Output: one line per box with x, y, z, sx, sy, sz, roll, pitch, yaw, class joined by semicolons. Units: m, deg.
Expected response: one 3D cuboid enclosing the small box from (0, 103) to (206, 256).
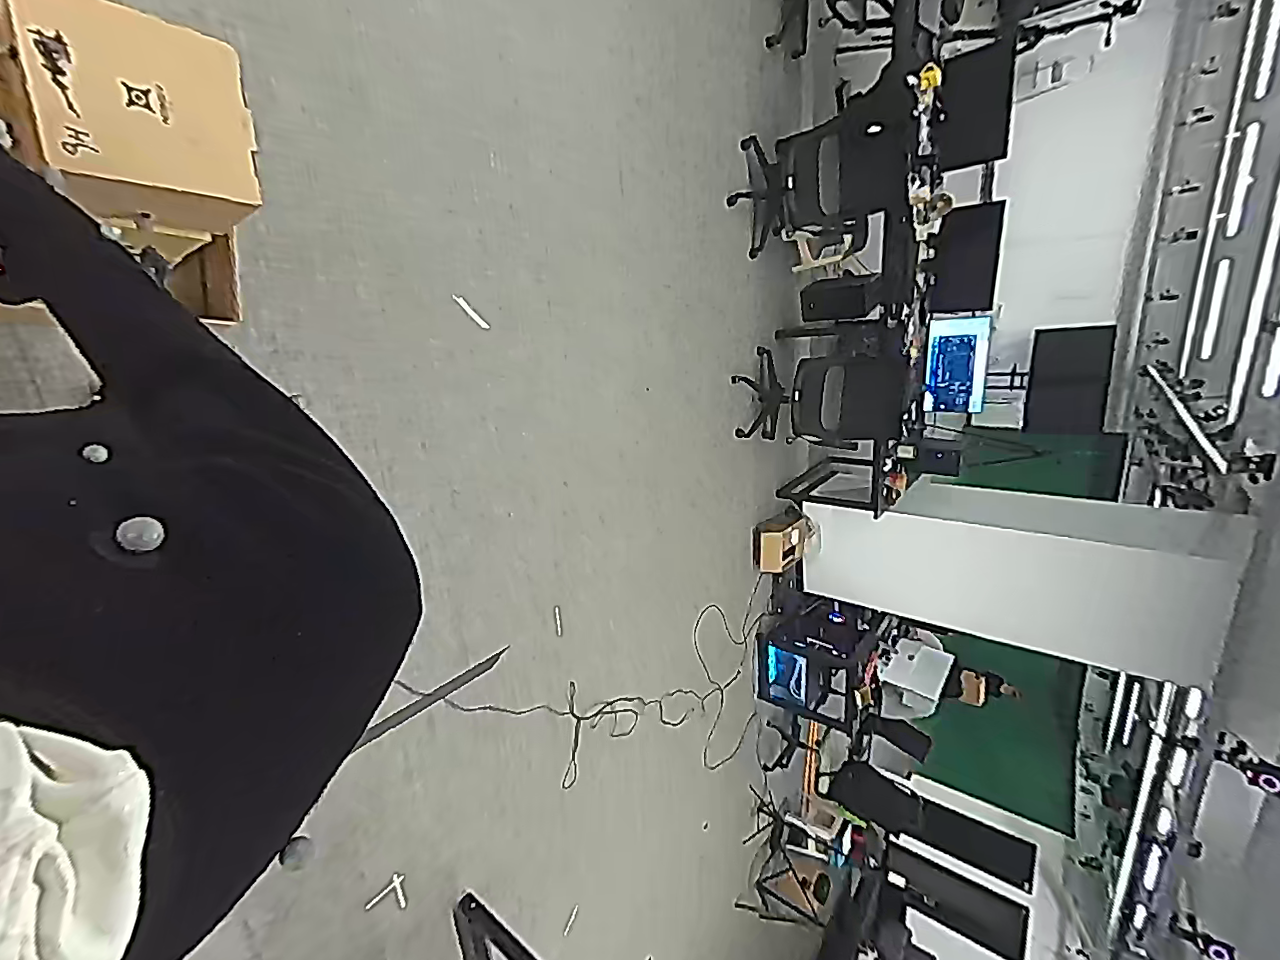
-0.693;-0.401;0.698;0.168;0.176;0.179;-13;105;-50;small box

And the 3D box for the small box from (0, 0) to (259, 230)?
-0.564;-0.388;0.598;0.179;0.176;0.168;-16;107;-51;small box
